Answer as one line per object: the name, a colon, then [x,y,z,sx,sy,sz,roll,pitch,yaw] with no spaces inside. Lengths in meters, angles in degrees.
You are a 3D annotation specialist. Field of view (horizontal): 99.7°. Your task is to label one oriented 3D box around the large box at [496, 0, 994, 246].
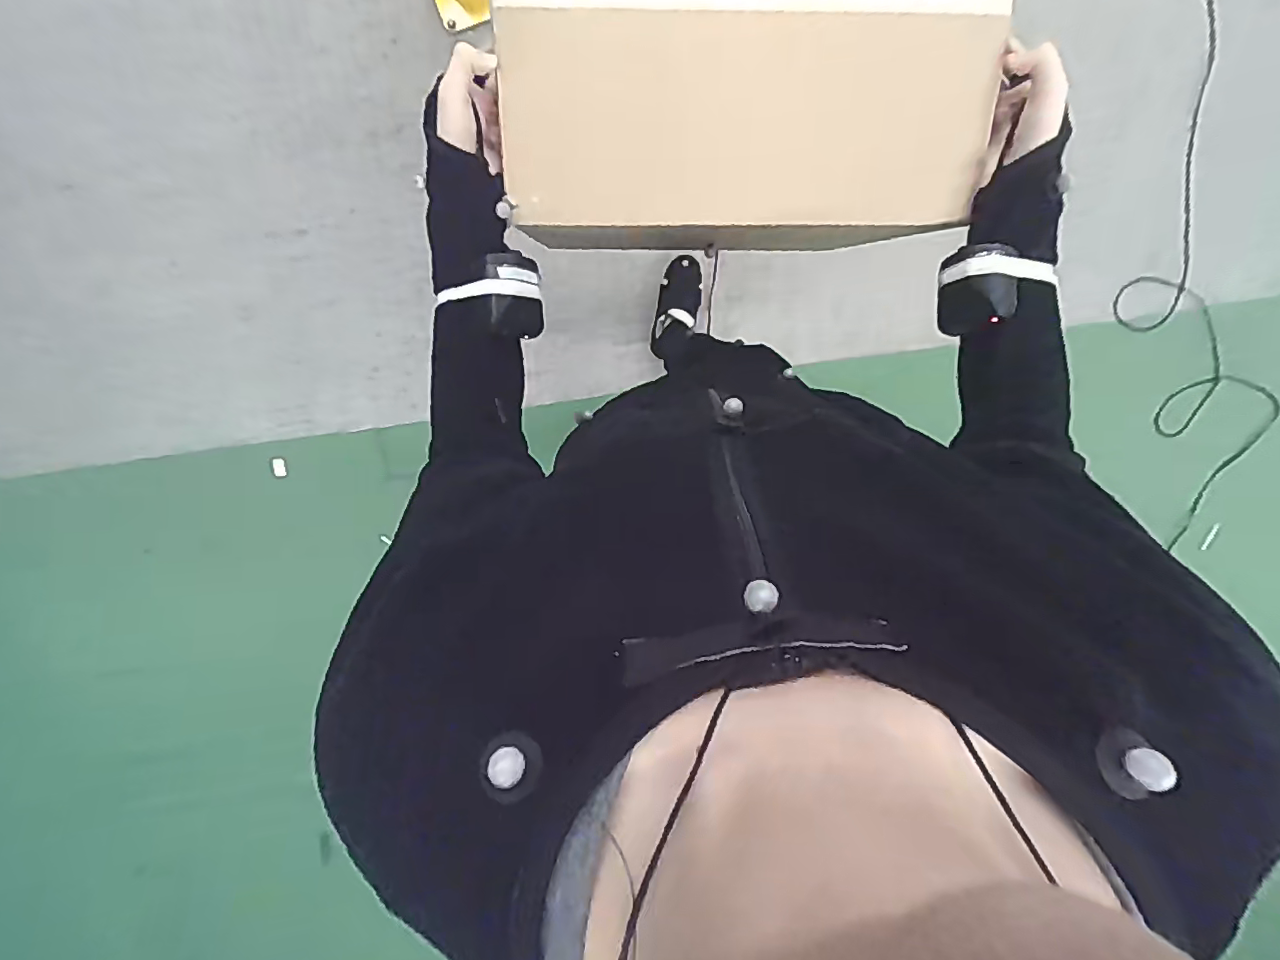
large box: [0.081,-0.424,0.567,0.408,0.320,0.320,-1,109,-2]
